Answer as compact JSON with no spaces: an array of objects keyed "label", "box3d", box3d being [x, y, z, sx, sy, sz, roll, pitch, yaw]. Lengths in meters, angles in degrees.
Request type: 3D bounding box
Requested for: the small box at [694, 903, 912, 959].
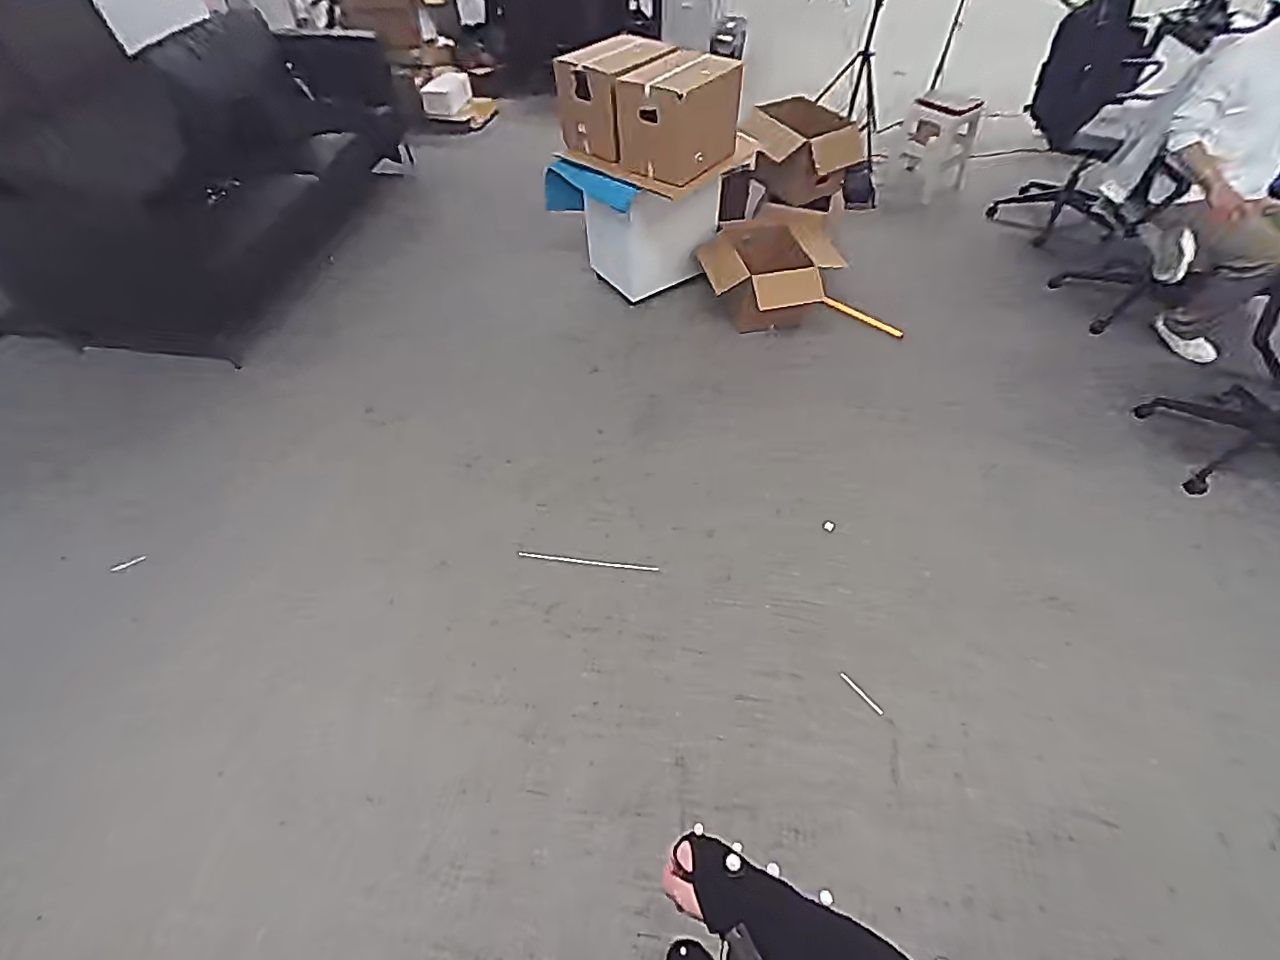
[{"label":"small box","box3d":[0.138,0.447,0.392,0.179,0.176,0.168,-17,62,-2]}]
